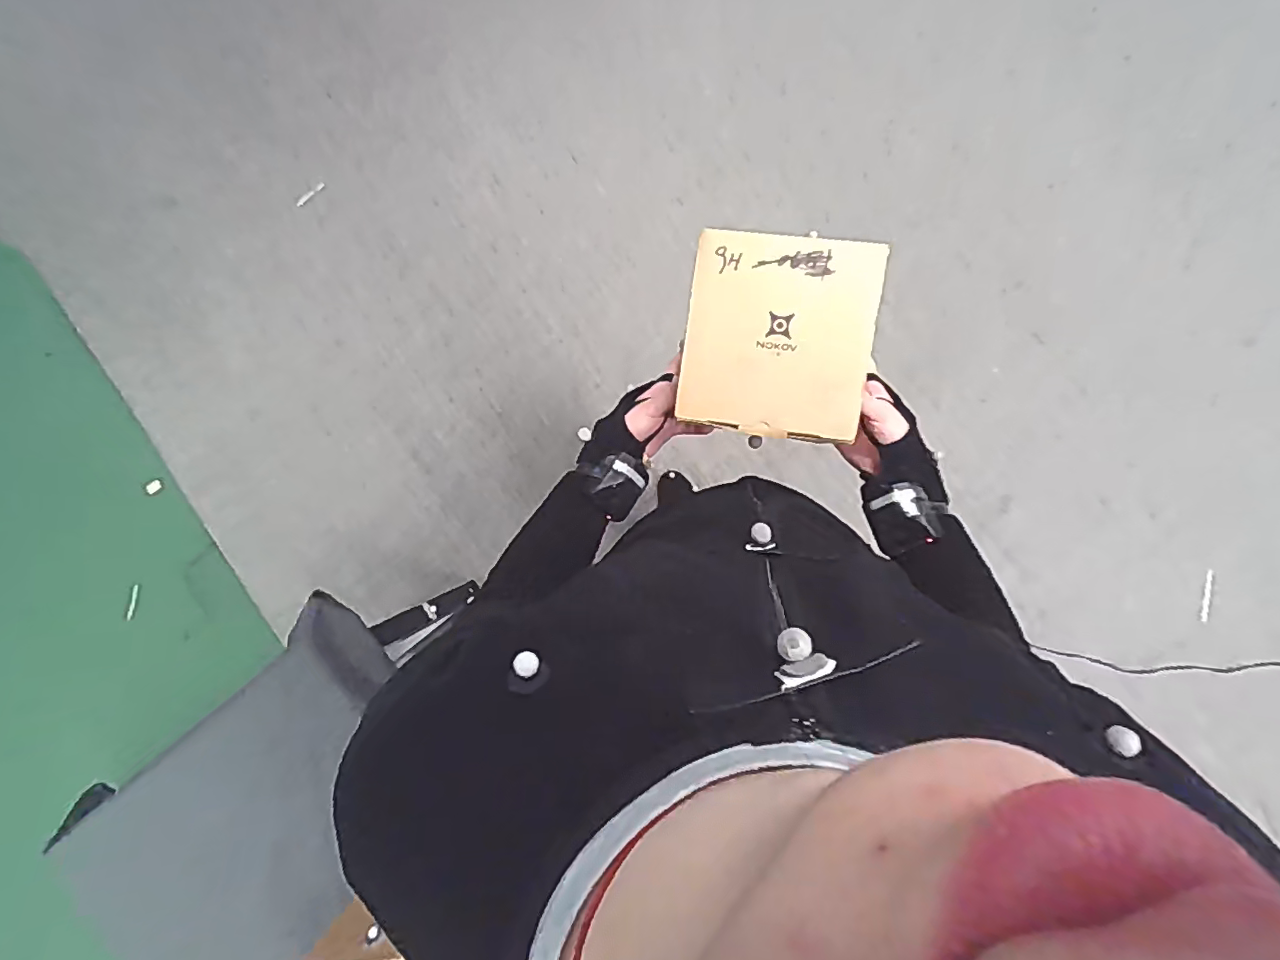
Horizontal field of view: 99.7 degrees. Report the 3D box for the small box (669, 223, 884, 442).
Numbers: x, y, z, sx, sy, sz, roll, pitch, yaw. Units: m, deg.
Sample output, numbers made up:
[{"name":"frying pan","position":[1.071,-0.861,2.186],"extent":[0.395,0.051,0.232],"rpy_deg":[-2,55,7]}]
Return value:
[{"name":"small box","position":[0.129,-0.141,0.561],"extent":[0.168,0.176,0.179],"rpy_deg":[9,98,6]}]
